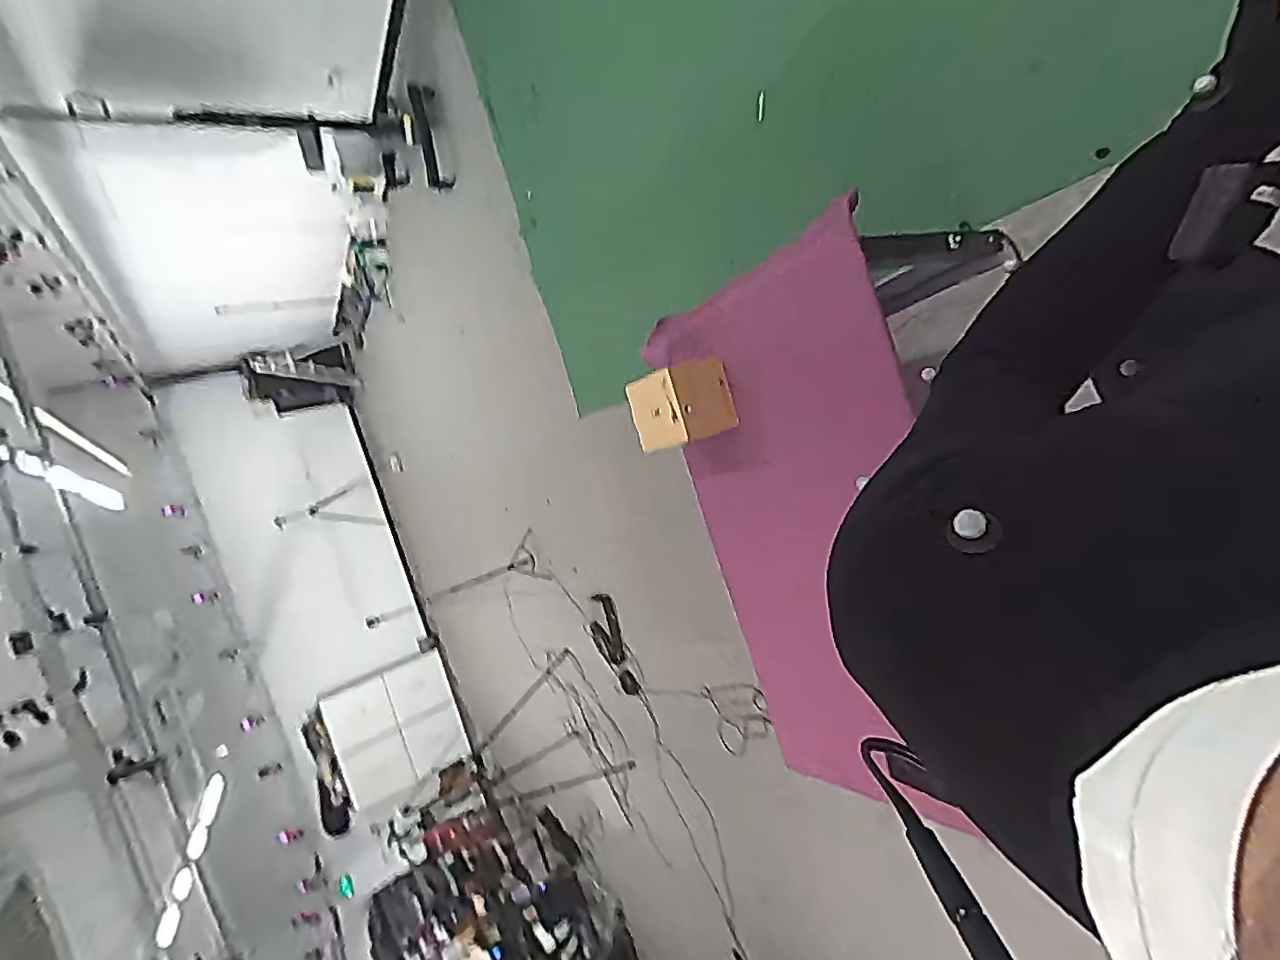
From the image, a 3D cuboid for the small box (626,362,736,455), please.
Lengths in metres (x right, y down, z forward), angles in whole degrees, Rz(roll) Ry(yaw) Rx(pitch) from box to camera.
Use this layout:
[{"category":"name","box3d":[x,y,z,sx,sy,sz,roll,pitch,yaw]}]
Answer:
[{"category":"small box","box3d":[0.097,-0.168,1.284,0.179,0.176,0.168,-13,96,56]}]
